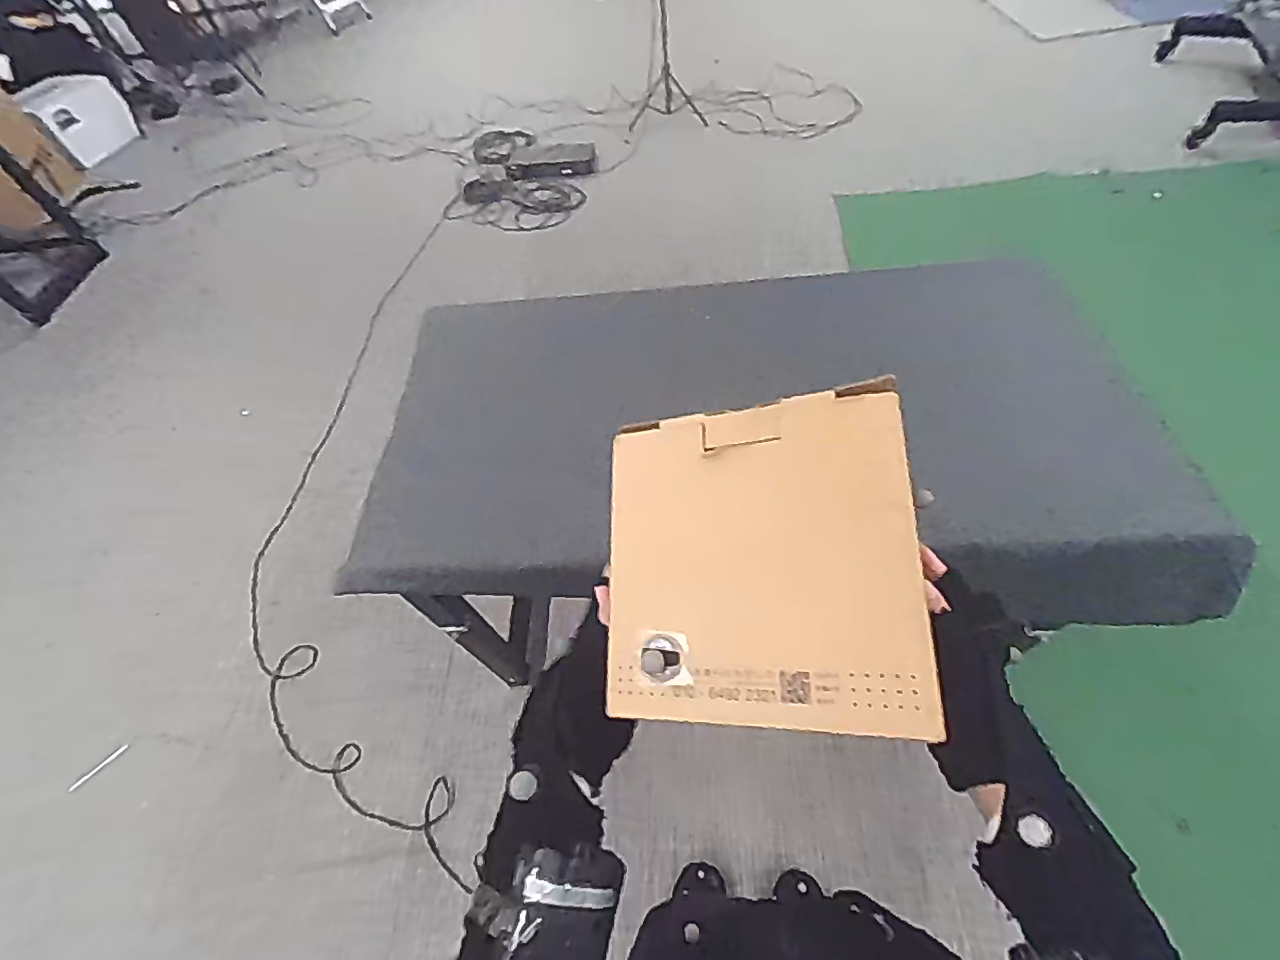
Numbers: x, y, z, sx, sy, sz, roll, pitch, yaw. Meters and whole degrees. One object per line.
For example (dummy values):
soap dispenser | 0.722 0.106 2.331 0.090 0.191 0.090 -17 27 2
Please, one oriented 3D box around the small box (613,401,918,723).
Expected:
small box | 0.092 0.067 0.377 0.168 0.179 0.176 -7 71 24
